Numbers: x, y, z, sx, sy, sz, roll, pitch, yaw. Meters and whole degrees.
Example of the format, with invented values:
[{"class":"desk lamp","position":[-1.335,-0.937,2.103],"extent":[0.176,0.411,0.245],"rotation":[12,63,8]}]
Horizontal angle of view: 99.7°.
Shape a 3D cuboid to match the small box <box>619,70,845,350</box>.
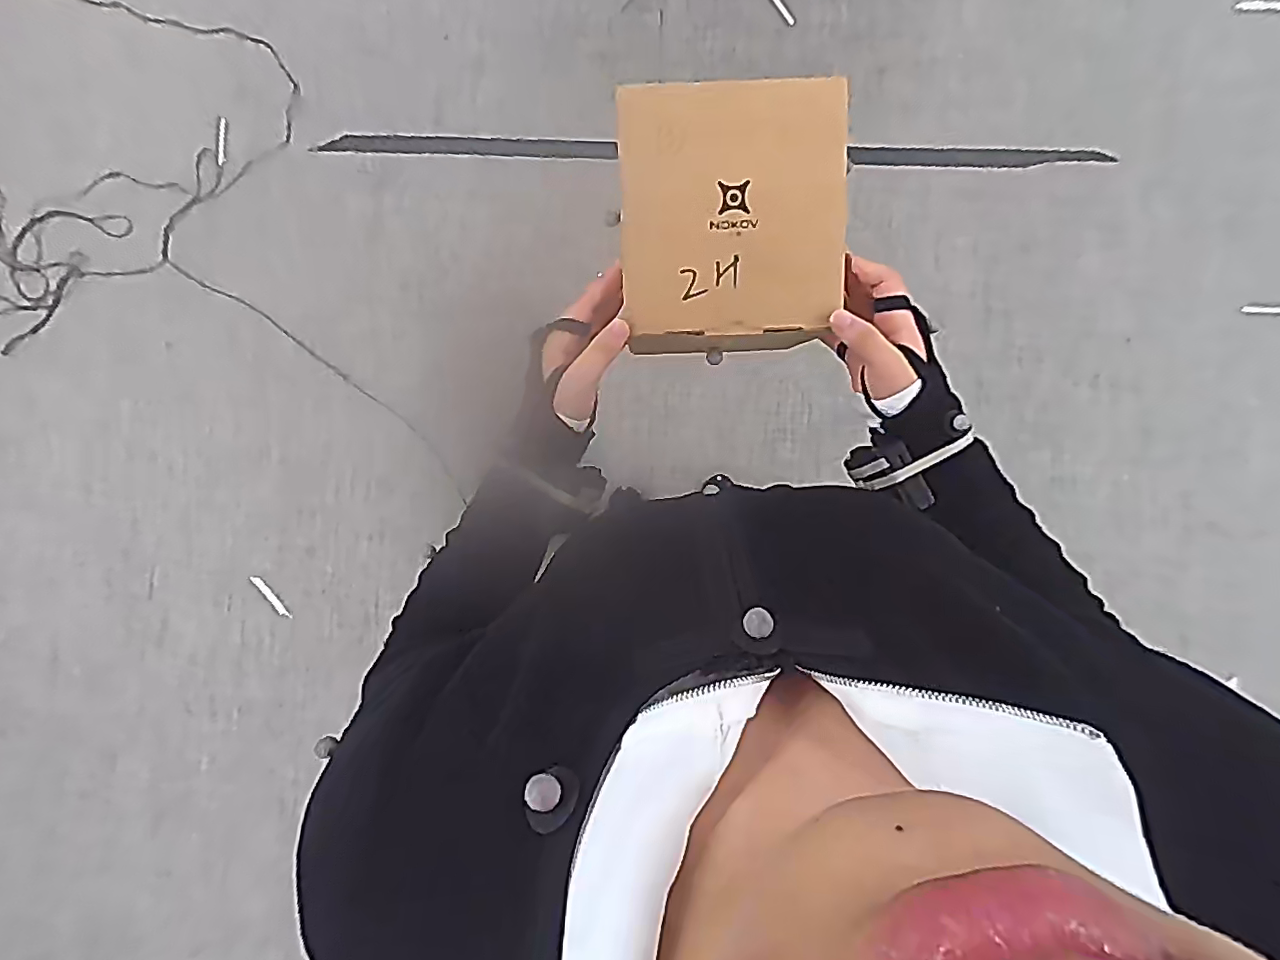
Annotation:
[{"class":"small box","position":[0.068,-0.215,0.476],"extent":[0.168,0.176,0.179],"rotation":[-2,98,2]}]
